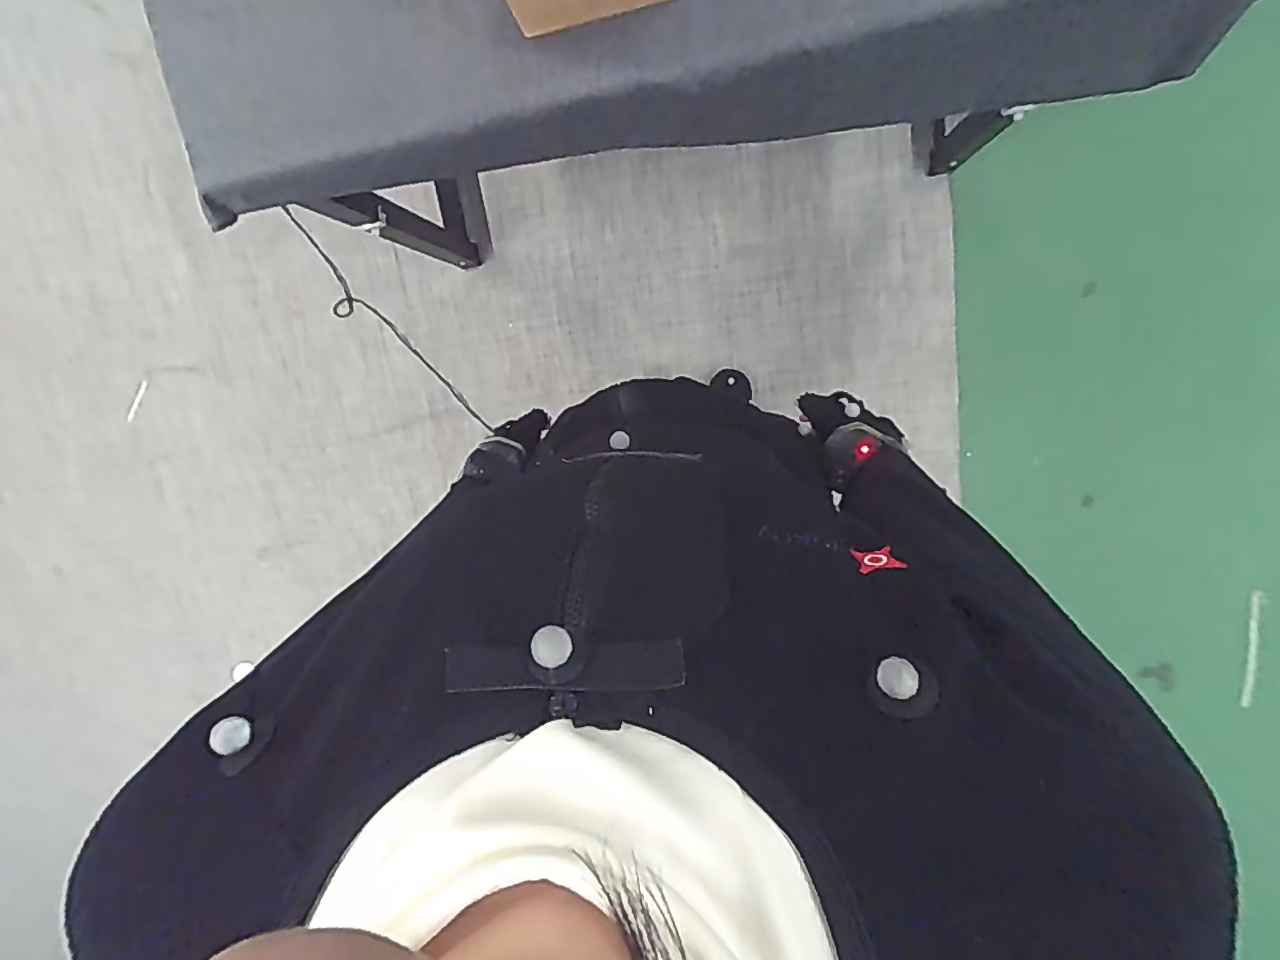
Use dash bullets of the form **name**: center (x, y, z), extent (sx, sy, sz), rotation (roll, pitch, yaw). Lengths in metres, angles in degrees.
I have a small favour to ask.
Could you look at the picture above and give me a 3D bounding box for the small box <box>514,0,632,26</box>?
- **small box**: center (-0.063, -0.575, 0.497), extent (0.179, 0.176, 0.168), rotation (-8, 100, 10)
